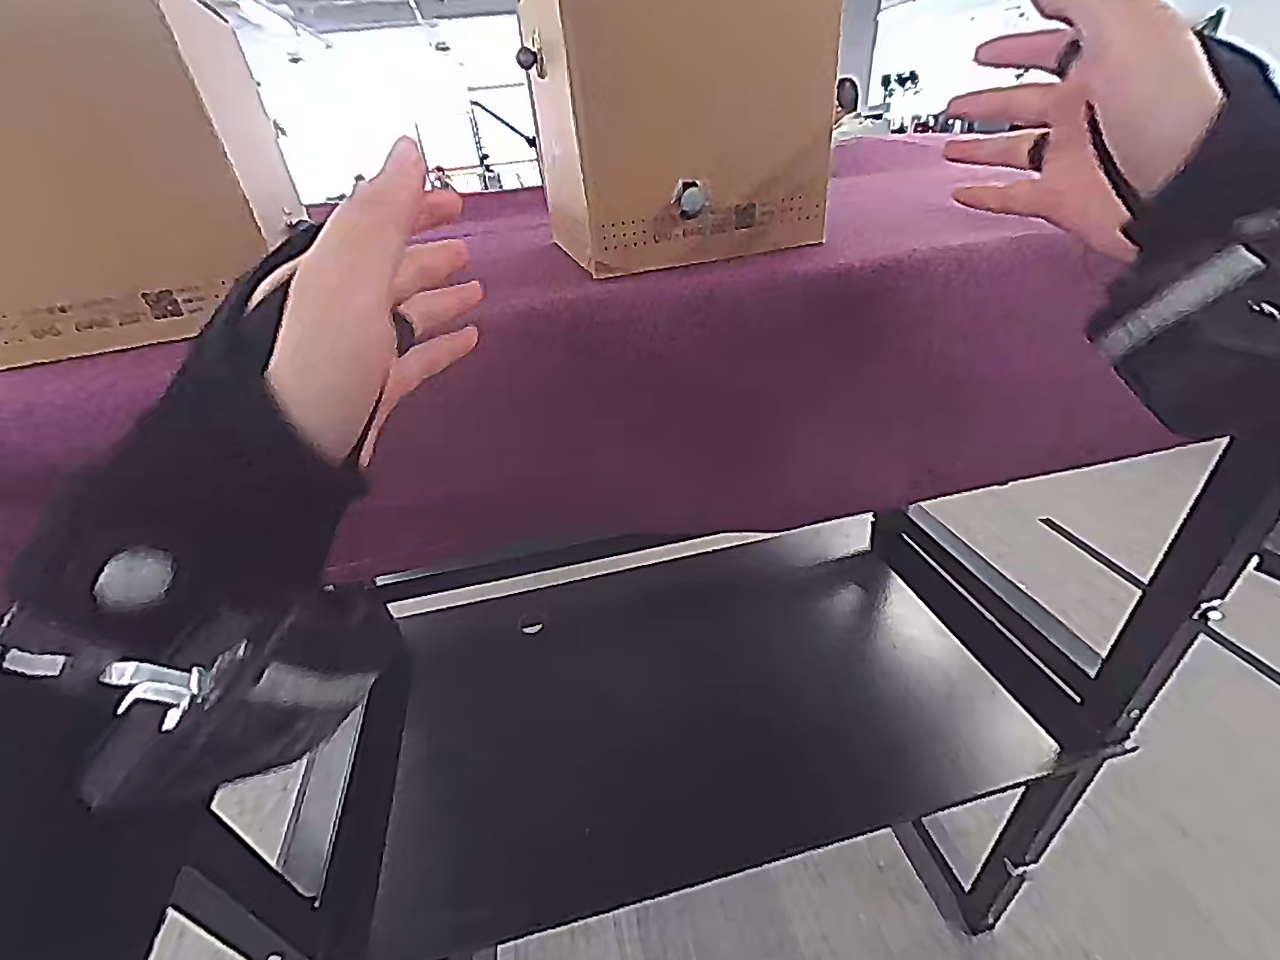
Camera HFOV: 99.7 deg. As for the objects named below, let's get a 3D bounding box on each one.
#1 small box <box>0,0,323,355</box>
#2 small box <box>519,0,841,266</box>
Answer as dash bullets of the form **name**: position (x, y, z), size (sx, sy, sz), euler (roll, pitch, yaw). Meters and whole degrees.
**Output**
- **small box**: position (-0.319, -0.188, 0.330), size (0.168, 0.176, 0.179), euler (-16, 34, -14)
- **small box**: position (0.017, -0.259, 0.382), size (0.168, 0.176, 0.179), euler (-14, 34, -10)
